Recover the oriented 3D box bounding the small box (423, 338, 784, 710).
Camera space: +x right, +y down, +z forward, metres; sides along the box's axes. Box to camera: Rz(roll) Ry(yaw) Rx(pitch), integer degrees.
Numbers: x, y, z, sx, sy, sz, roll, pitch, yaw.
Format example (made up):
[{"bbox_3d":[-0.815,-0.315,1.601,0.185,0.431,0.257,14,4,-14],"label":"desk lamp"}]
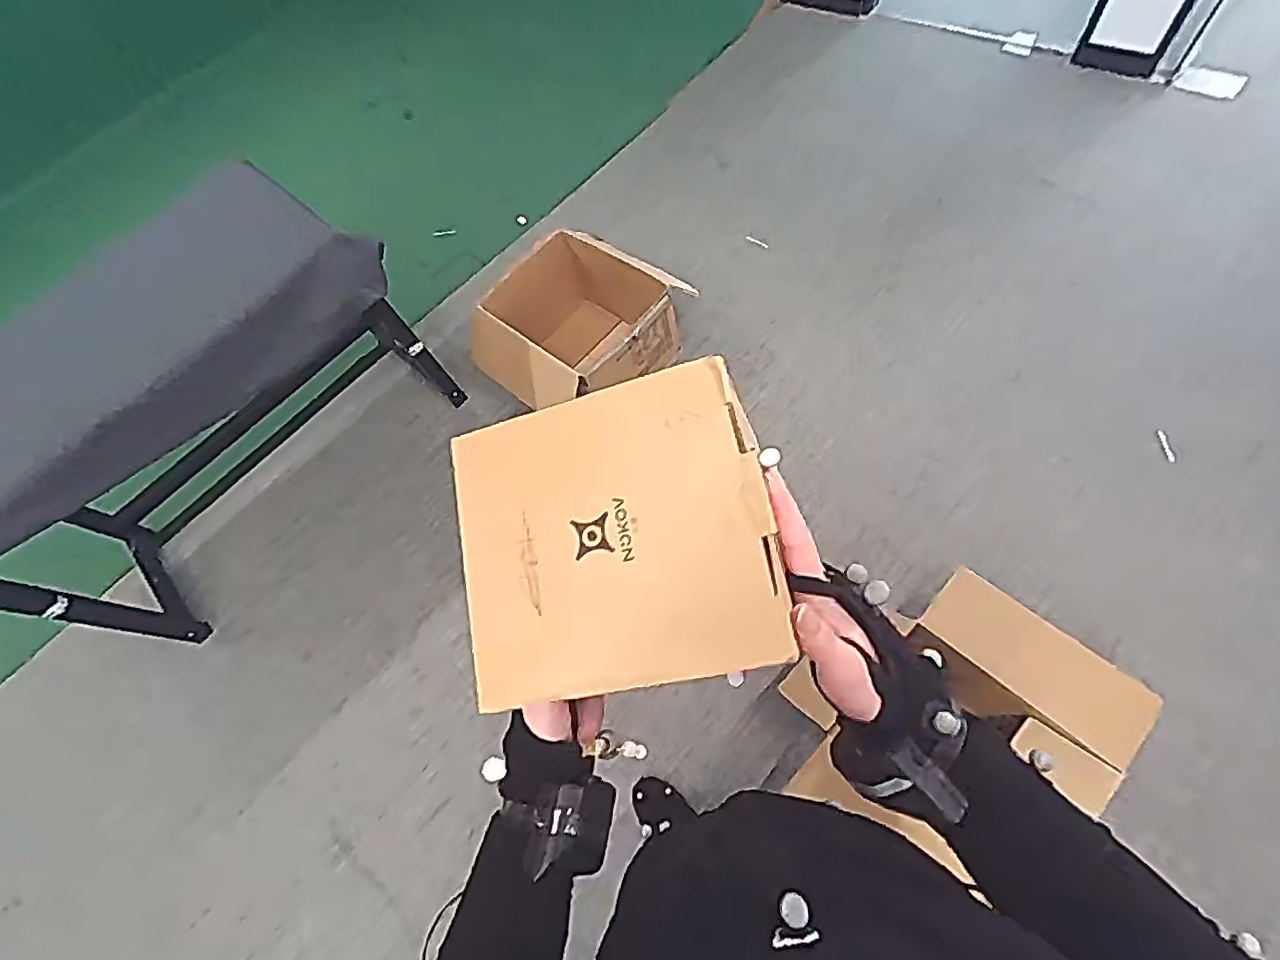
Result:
[{"bbox_3d":[-0.010,0.038,0.355,0.179,0.176,0.168,-16,74,17],"label":"small box"}]
